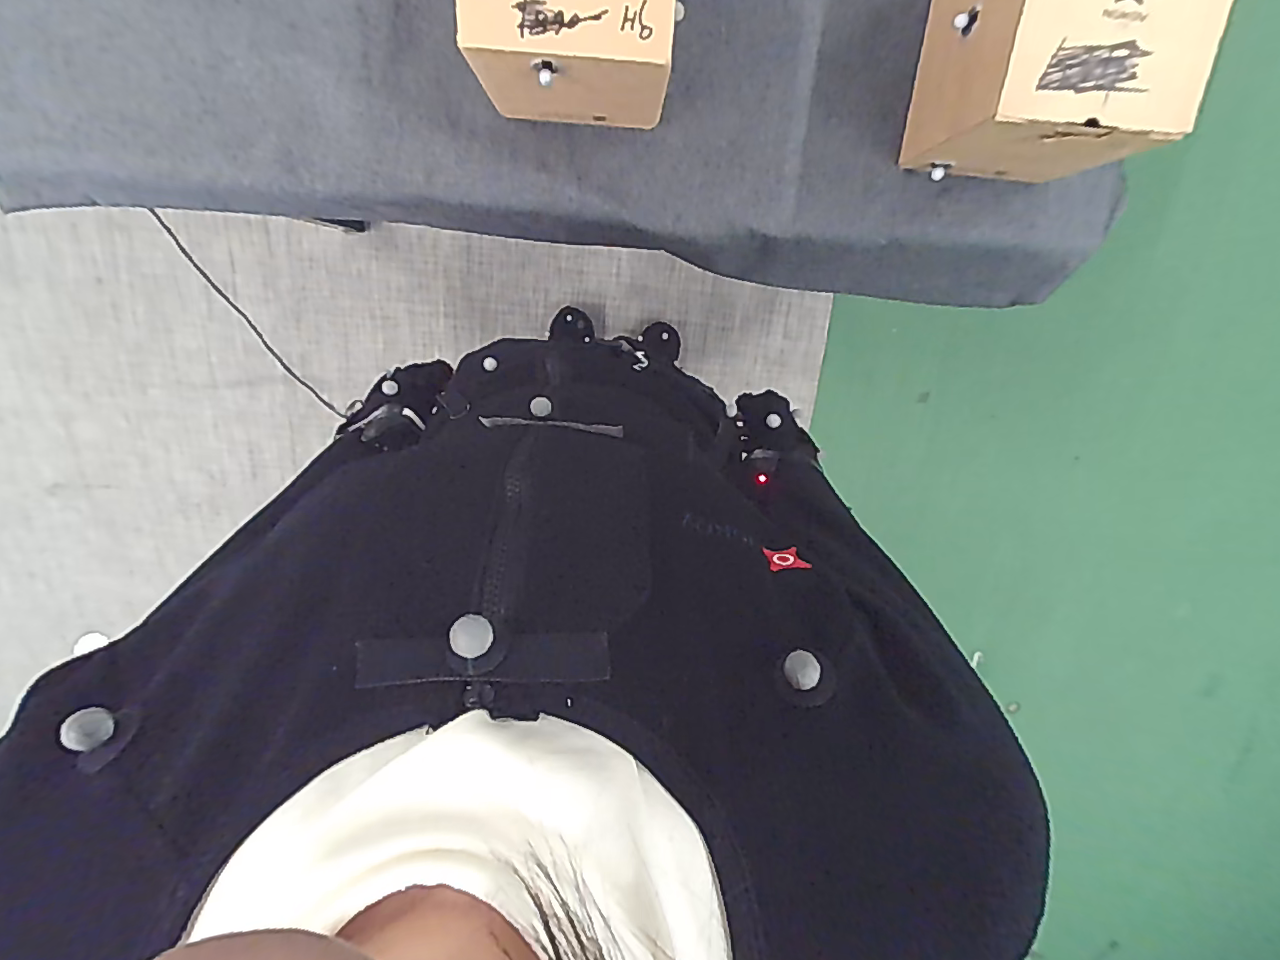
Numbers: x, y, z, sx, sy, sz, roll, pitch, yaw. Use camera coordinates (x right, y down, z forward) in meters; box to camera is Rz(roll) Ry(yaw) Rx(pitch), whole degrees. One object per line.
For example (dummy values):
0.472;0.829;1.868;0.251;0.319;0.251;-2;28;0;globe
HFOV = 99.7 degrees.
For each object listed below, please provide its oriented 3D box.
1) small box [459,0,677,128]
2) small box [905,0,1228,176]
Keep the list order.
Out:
-0.053;-0.437;0.467;0.168;0.176;0.179;3;108;-3;small box
0.371;-0.396;0.494;0.168;0.176;0.179;4;107;-3;small box
